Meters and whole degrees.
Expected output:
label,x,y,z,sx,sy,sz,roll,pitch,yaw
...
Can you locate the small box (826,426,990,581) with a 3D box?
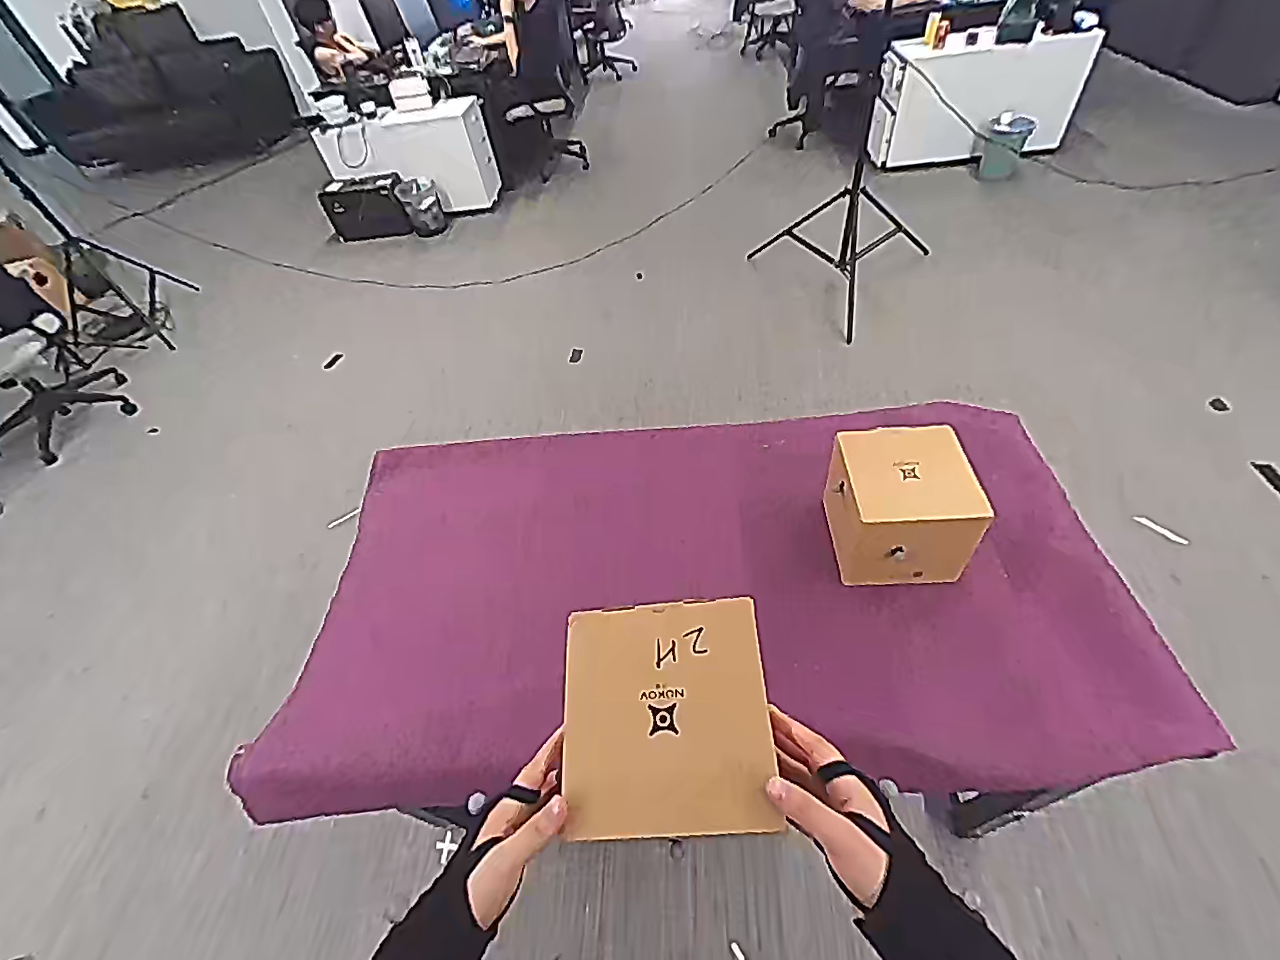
label,x,y,z,sx,sy,sz,roll,pitch,yaw
small box,0.387,0.042,0.819,0.168,0.176,0.179,-4,48,7
